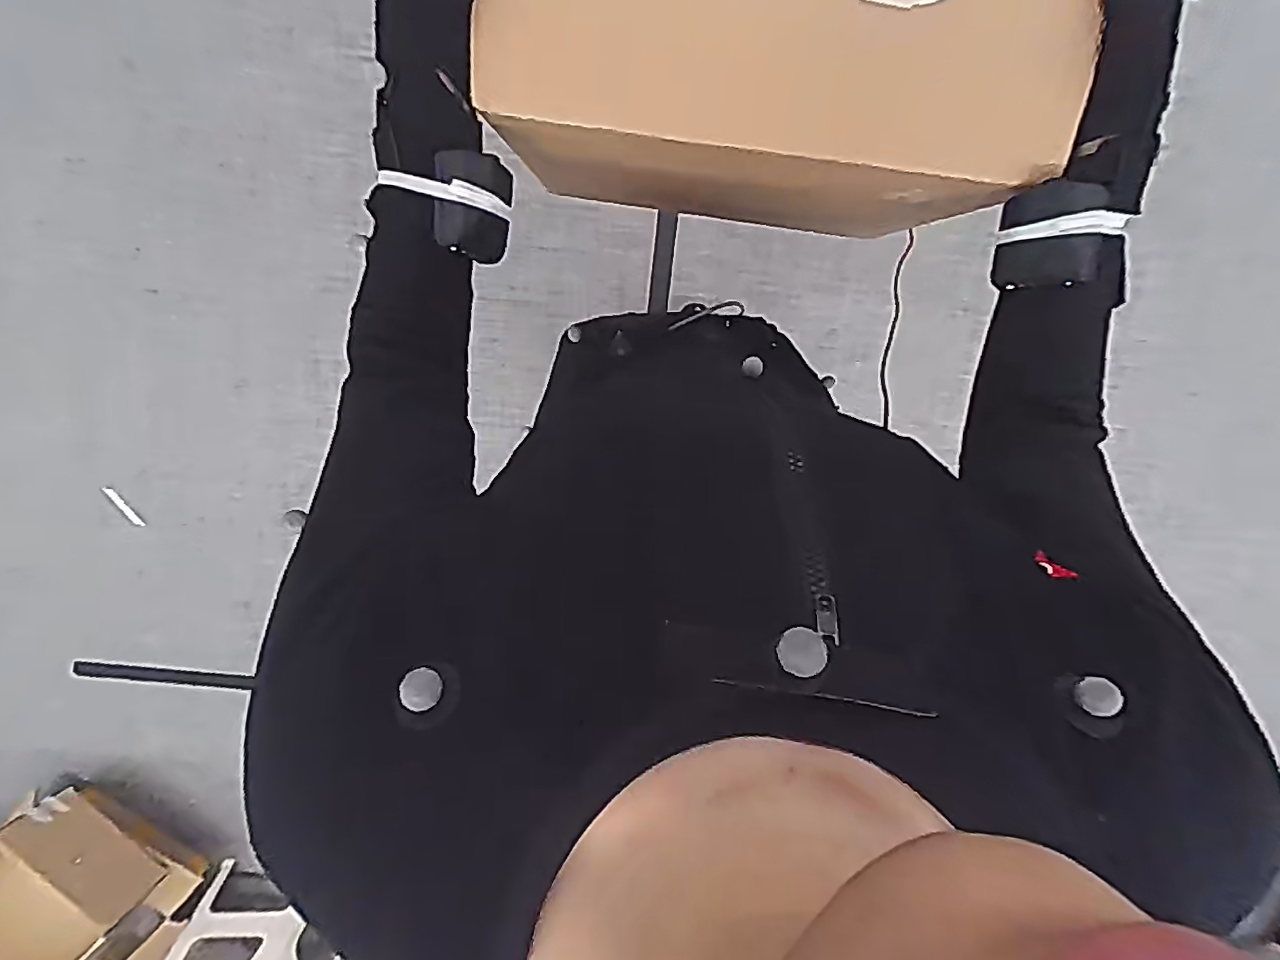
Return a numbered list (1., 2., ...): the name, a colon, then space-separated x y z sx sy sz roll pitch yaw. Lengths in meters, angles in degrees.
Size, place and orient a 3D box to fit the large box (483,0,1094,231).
1. large box: 0.102 -0.422 0.472 0.408 0.320 0.320 7 110 -3
